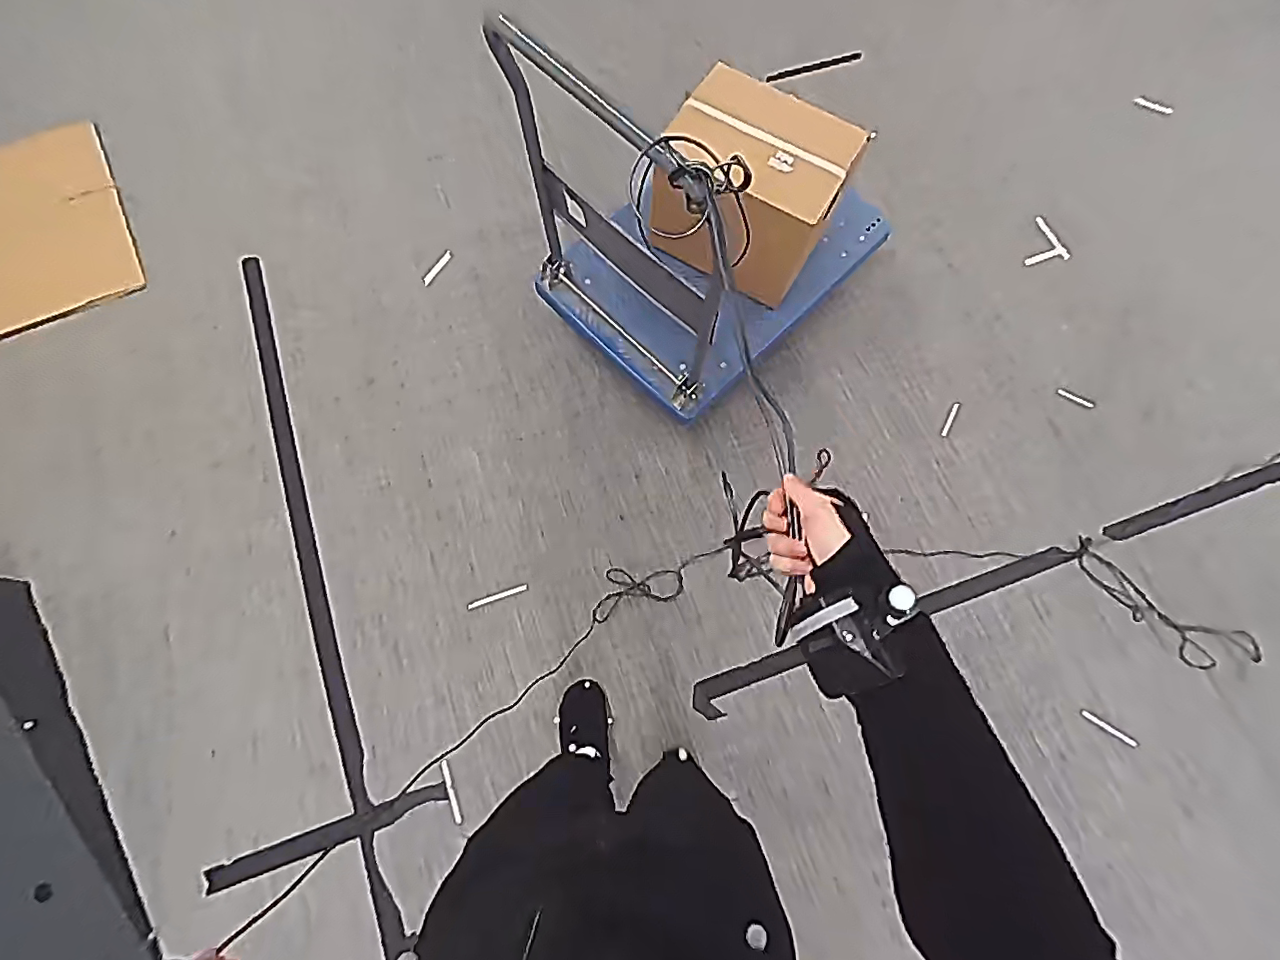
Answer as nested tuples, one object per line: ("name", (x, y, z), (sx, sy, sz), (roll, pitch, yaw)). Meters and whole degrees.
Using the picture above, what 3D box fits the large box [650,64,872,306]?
("large box", (0.276, -0.718, 1.351), (0.408, 0.320, 0.320), (31, 75, 6))
